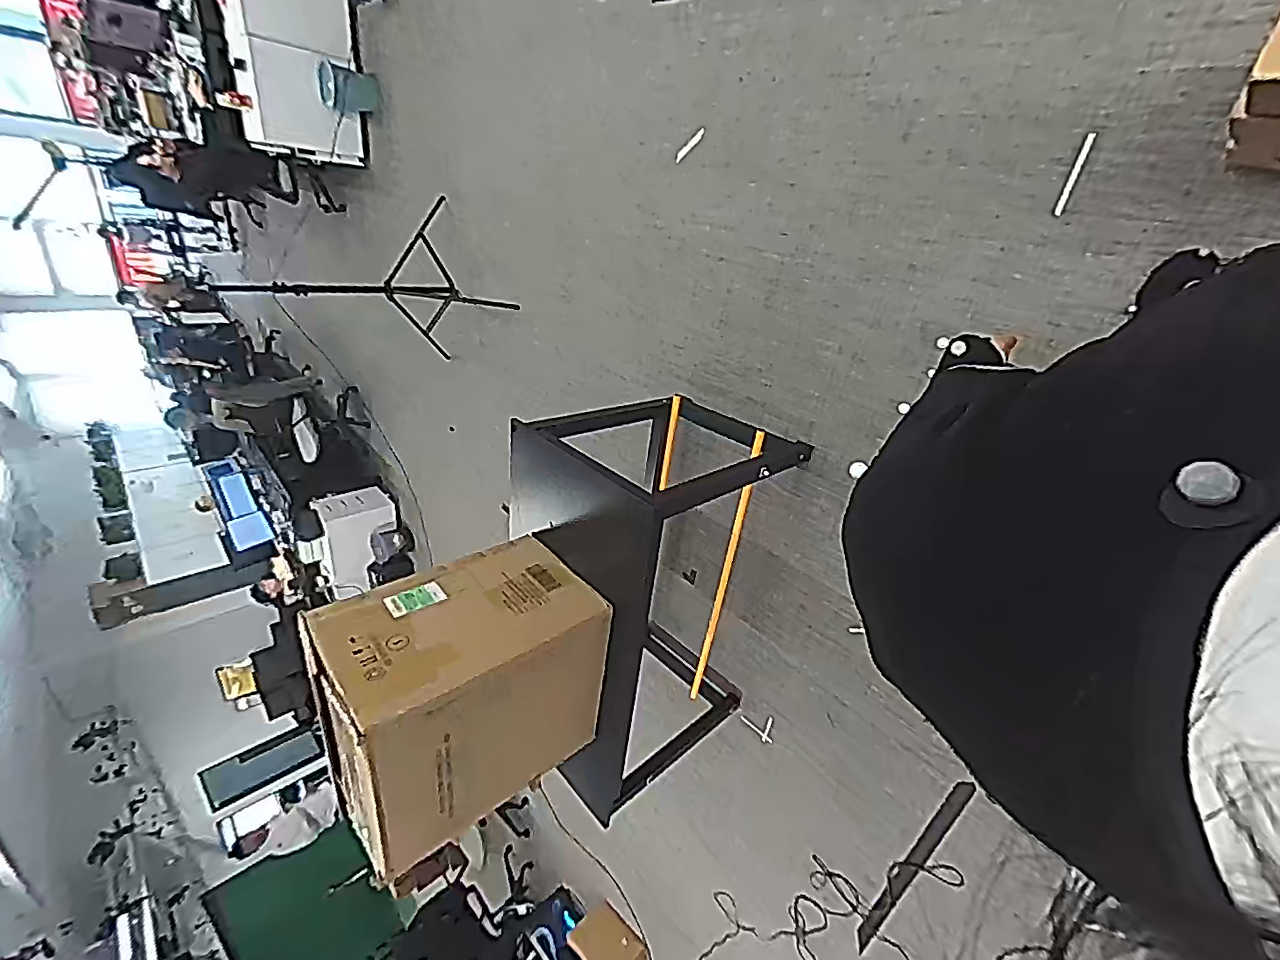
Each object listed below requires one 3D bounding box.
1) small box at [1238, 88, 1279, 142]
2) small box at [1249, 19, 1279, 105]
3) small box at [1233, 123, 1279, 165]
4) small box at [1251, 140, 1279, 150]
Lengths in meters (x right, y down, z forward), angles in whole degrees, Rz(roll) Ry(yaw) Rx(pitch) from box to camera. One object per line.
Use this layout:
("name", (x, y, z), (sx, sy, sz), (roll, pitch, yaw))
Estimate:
("small box", (0.836, -0.490, 0.607), (0.168, 0.176, 0.179), (35, 129, 36))
("small box", (0.723, -0.455, 0.493), (0.168, 0.176, 0.179), (31, 126, 38))
("small box", (1.068, -0.579, 0.820), (0.179, 0.176, 0.168), (34, 128, 35))
("small box", (0.954, -0.541, 0.706), (0.168, 0.176, 0.179), (35, 128, 35))
